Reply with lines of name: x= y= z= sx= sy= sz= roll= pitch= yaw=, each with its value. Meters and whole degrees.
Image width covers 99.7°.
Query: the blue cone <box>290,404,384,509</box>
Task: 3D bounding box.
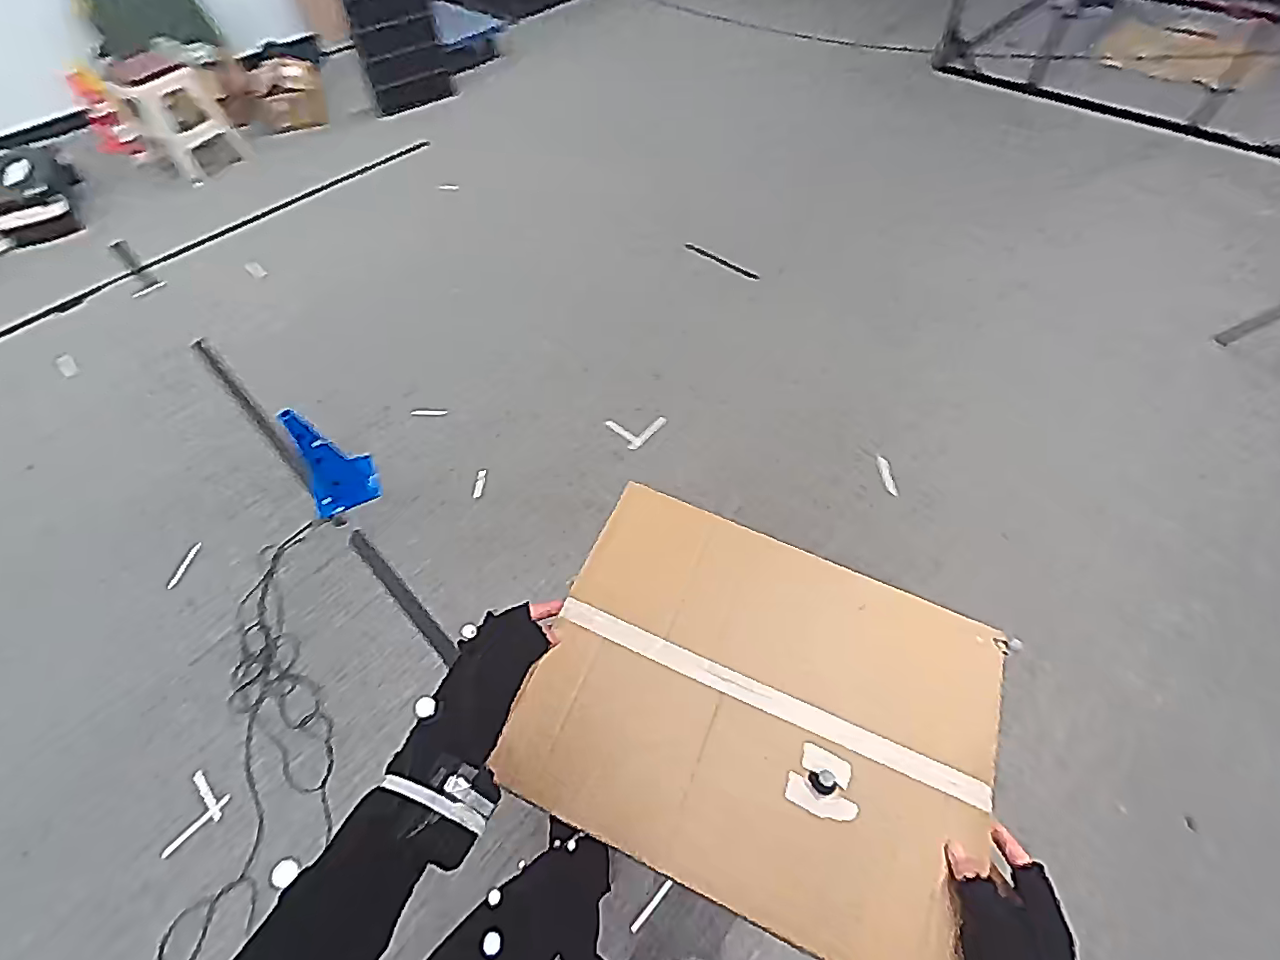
blue cone: x=-0.968 y=-0.089 z=1.684 sx=0.193 sy=0.380 sz=0.192 roll=-22 pitch=57 yaw=-12
